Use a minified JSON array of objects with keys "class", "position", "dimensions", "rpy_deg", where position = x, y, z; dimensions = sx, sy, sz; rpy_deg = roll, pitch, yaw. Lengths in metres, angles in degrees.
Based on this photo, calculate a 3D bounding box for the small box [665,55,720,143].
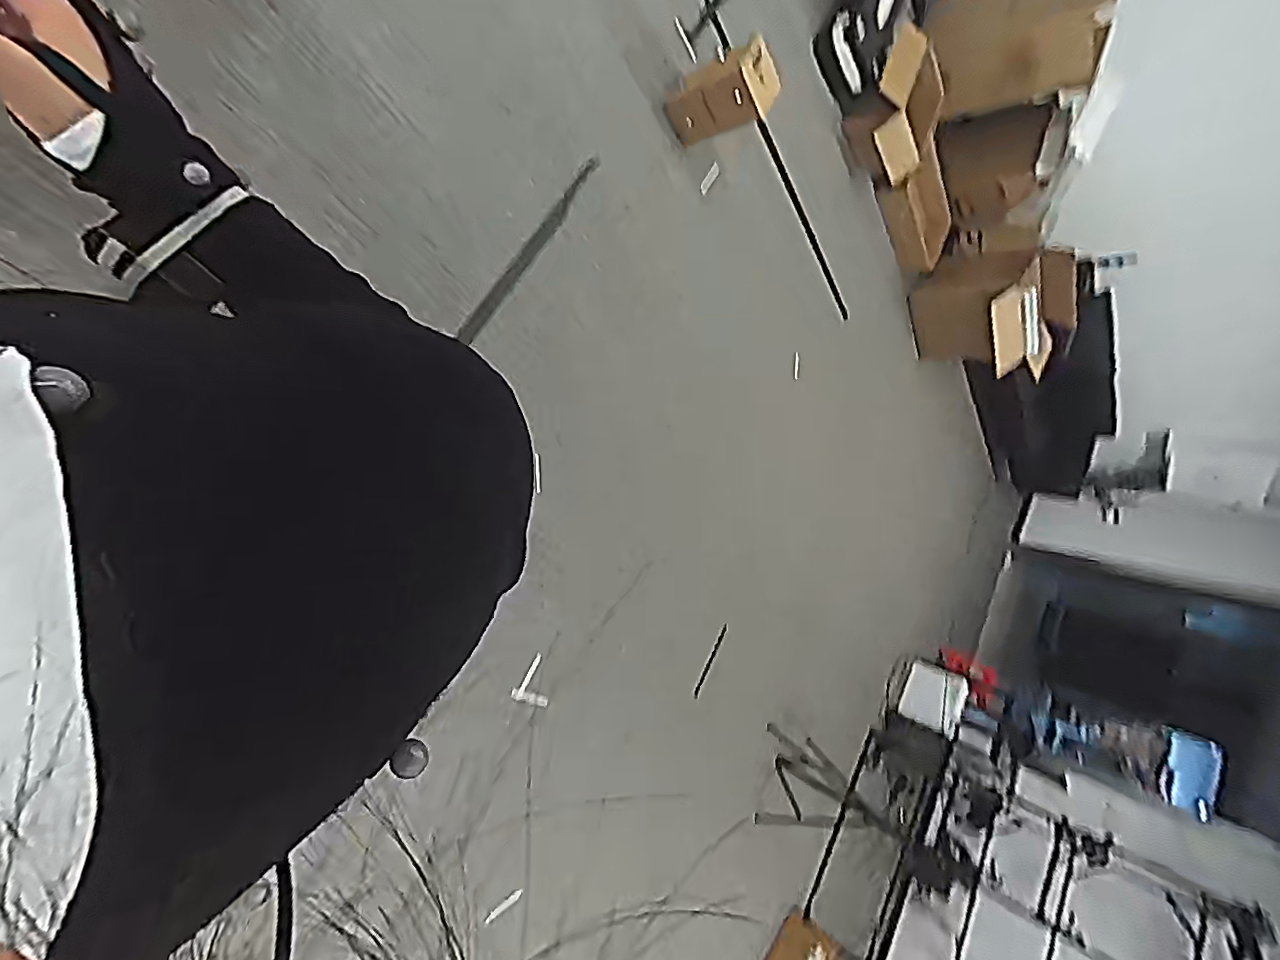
[{"class":"small box","position":[0.212,-1.340,1.915],"dimensions":[0.168,0.176,0.179],"rpy_deg":[44,69,-40]}]

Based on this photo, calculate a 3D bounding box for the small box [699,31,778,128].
[{"class":"small box","position":[0.324,-1.318,1.794],"dimensions":[0.179,0.176,0.168],"rpy_deg":[43,69,-42]}]
